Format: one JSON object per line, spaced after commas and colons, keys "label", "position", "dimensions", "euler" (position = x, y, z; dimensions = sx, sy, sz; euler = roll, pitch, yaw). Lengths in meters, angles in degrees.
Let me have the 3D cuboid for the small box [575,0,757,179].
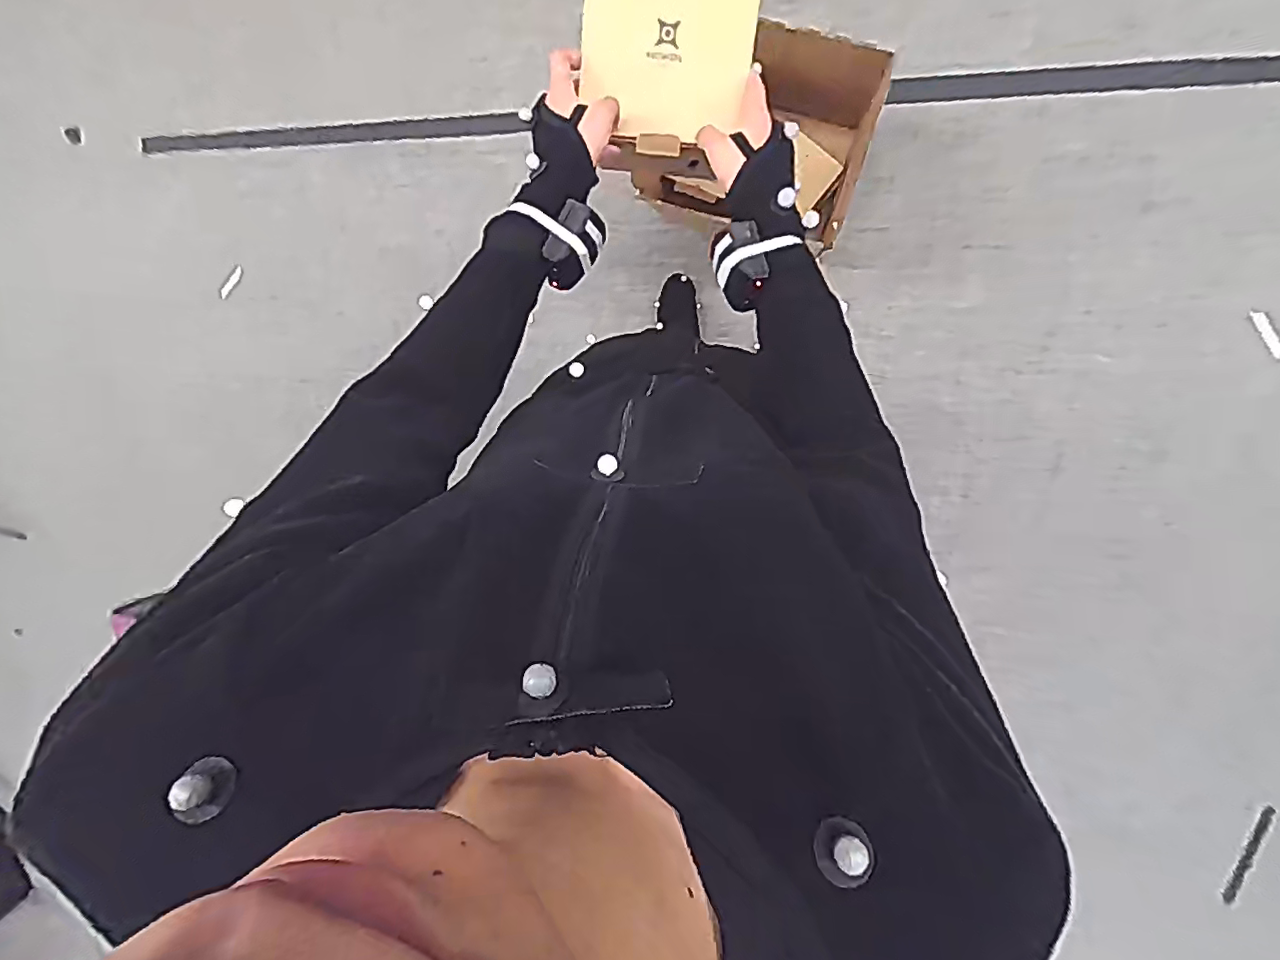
{"label": "small box", "position": [0.029, -0.445, 0.591], "dimensions": [0.168, 0.176, 0.179], "euler": [7, 109, 1]}
